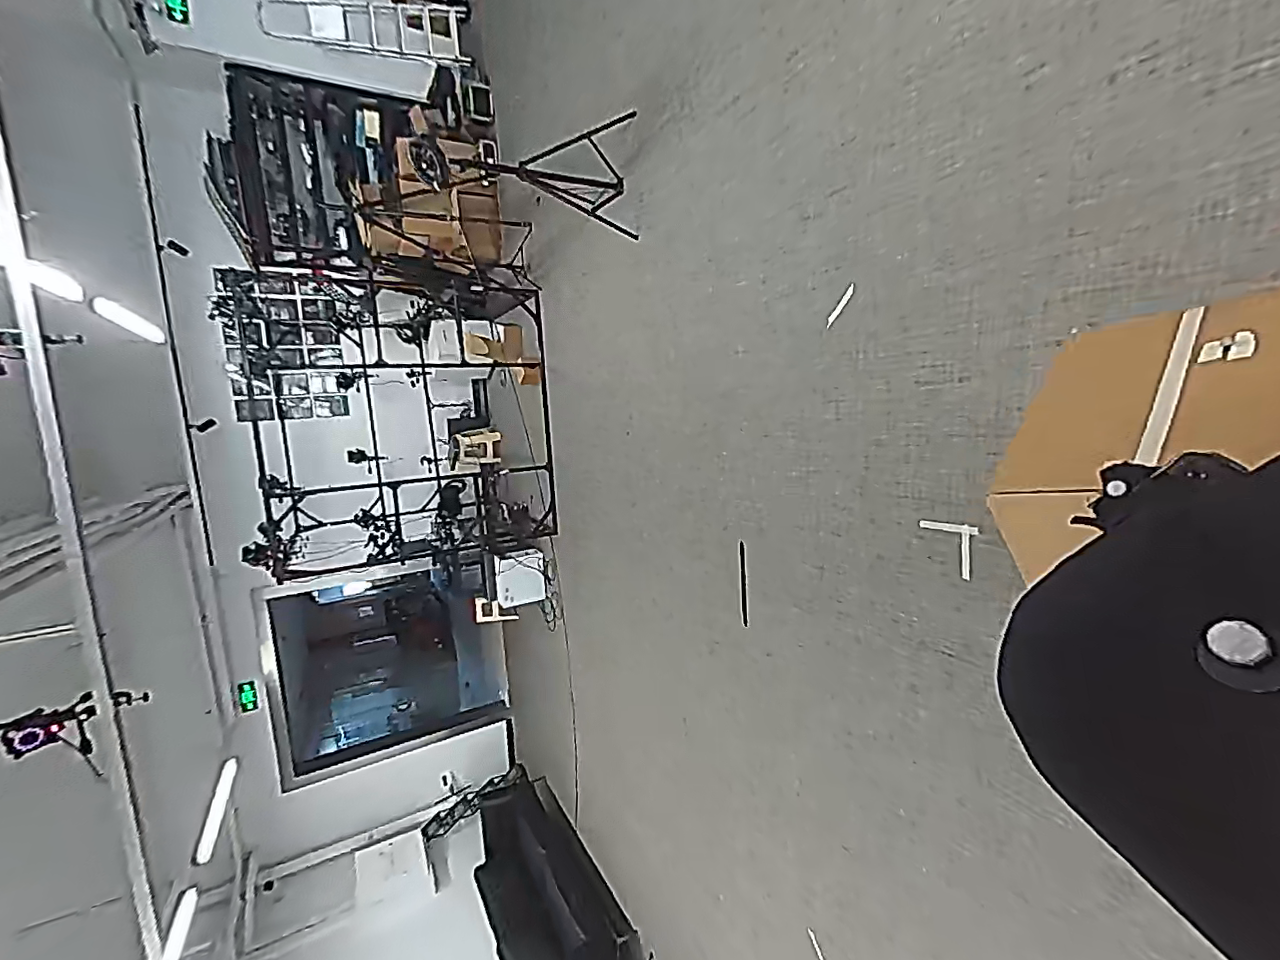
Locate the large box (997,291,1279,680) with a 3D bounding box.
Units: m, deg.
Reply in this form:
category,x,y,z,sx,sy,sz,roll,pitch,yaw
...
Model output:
category,x,y,z,sx,sy,sz,roll,pitch,yaw
large box,0.759,0.001,0.726,0.320,0.408,0.320,-5,125,57
